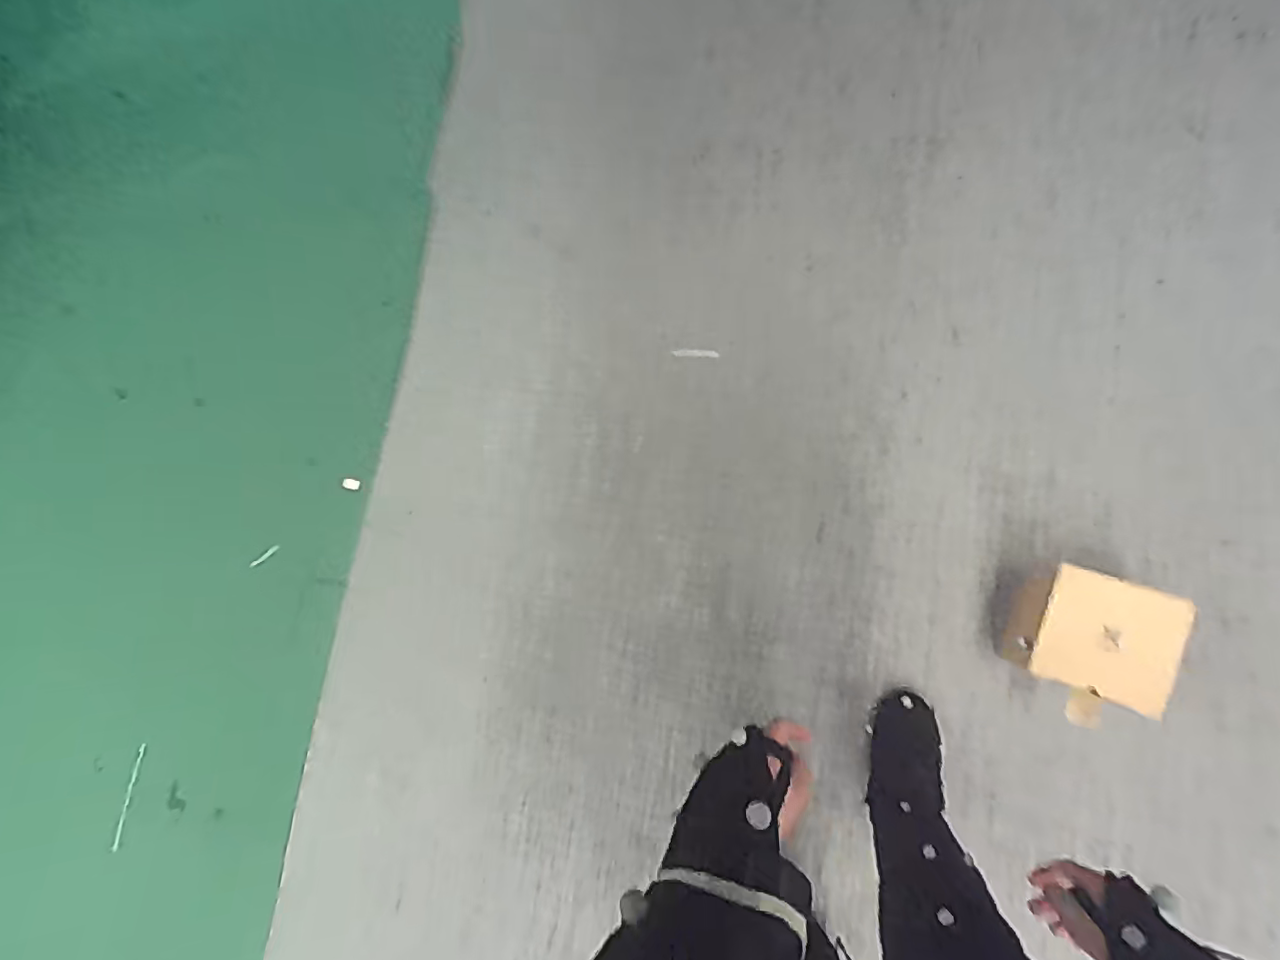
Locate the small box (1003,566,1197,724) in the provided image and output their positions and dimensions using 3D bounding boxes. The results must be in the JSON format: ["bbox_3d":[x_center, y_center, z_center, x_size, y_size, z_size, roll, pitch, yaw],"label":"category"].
[{"bbox_3d":[0.709,0.249,0.858,0.168,0.176,0.179,19,87,21],"label":"small box"}]
